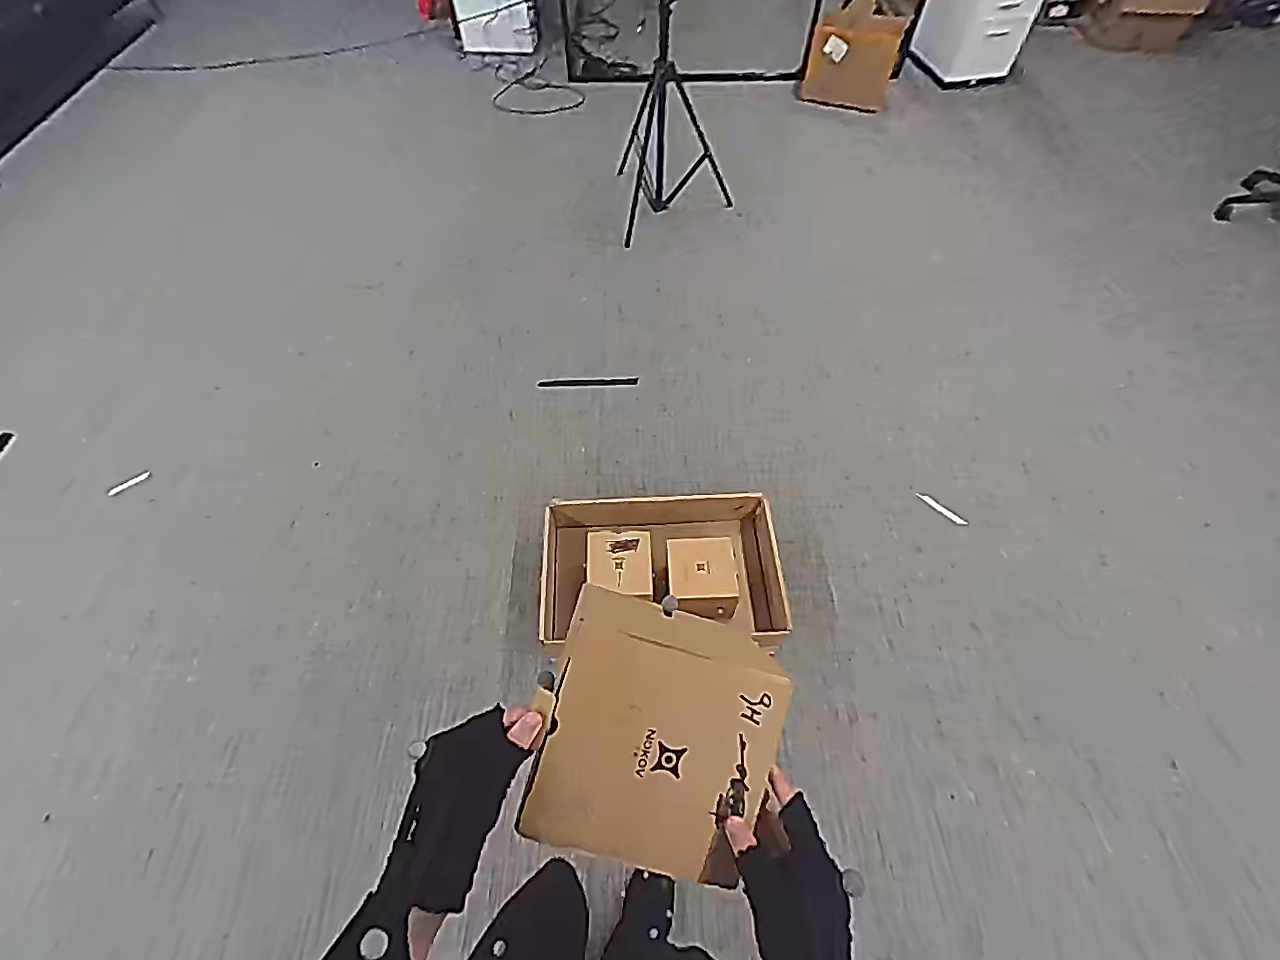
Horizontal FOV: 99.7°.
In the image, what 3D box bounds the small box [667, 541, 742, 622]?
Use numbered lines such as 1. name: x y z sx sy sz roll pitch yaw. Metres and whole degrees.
1. small box: 0.164 0.274 1.439 0.179 0.176 0.168 -2 57 1
